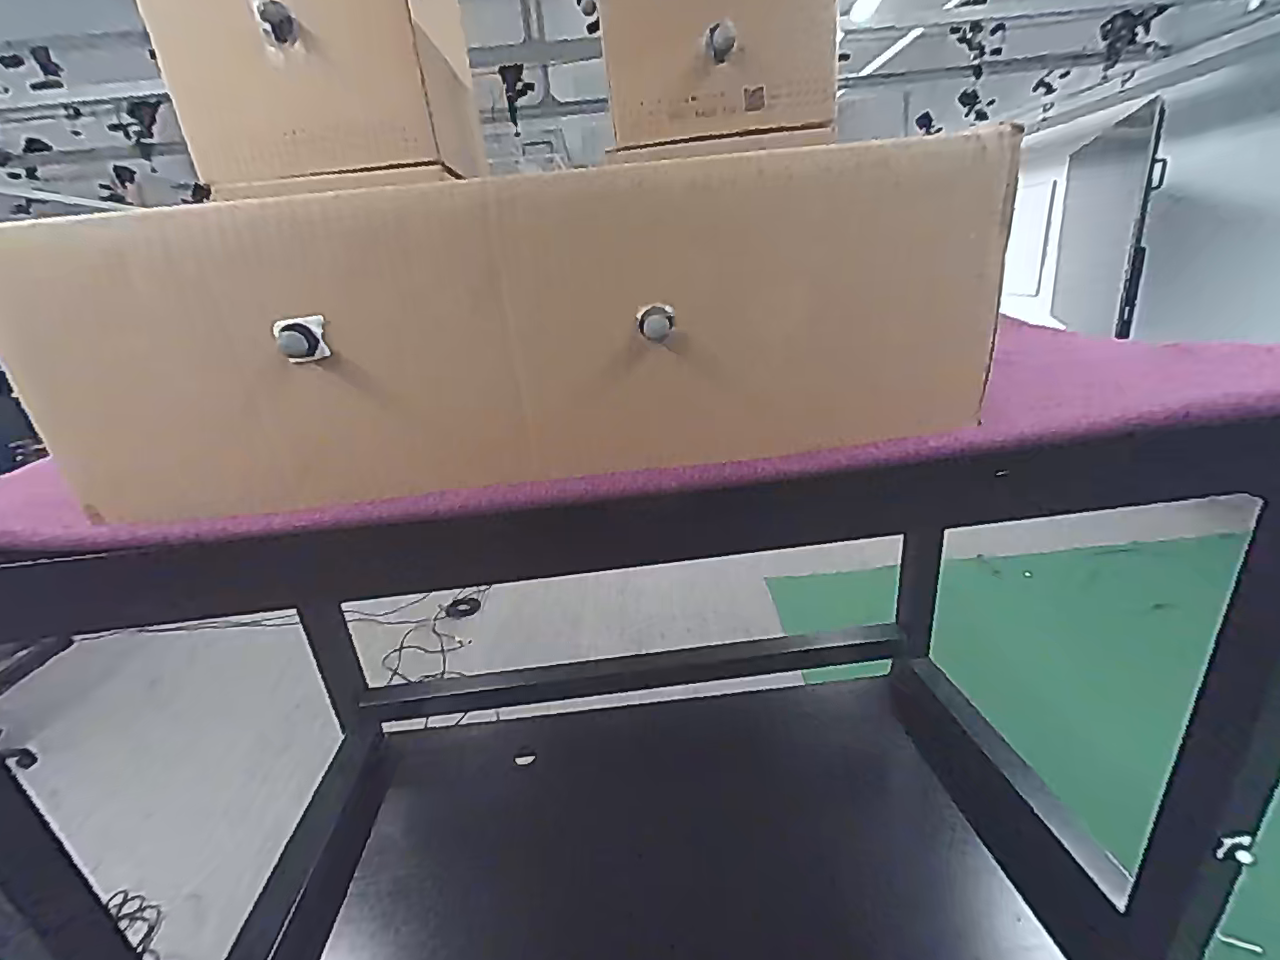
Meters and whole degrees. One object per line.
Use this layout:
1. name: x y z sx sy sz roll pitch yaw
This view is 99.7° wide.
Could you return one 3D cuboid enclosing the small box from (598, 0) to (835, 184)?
1. small box: 0.053 -0.359 0.452 0.168 0.176 0.179 -7 21 2
